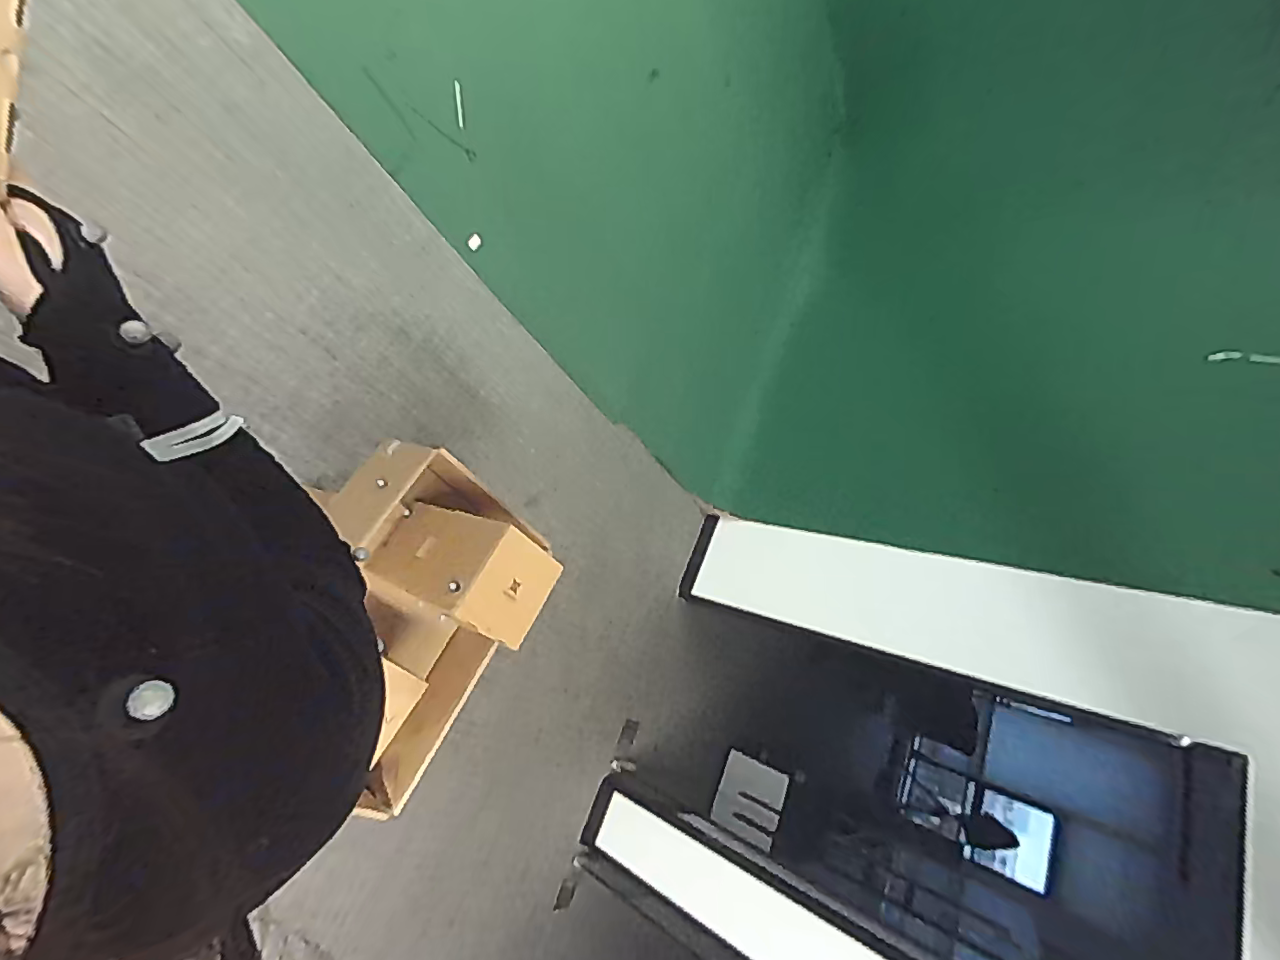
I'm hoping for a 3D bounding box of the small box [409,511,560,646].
[{"bbox_3d":[-0.289,0.176,1.004,0.168,0.176,0.179,51,59,-43],"label":"small box"}]
